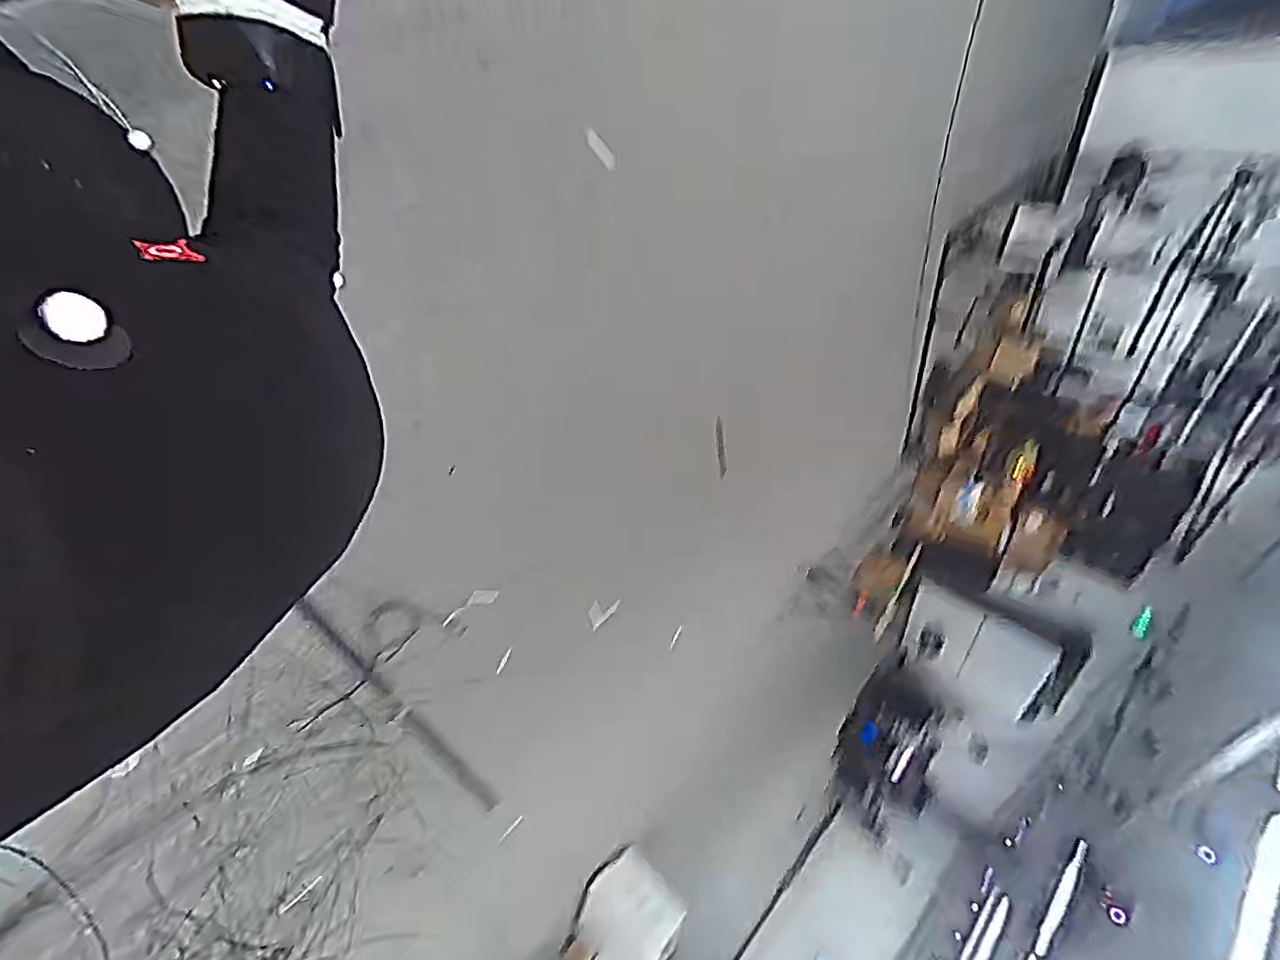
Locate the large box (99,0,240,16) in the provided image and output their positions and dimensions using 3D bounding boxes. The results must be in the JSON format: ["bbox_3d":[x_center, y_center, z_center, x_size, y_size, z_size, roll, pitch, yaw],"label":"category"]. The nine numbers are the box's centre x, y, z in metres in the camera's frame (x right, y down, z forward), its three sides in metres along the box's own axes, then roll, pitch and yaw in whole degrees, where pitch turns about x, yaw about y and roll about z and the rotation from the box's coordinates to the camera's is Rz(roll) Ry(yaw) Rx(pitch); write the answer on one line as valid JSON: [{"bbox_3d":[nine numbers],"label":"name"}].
[{"bbox_3d":[-0.460,-0.482,0.233,0.408,0.320,0.320,-11,127,-47],"label":"large box"}]
